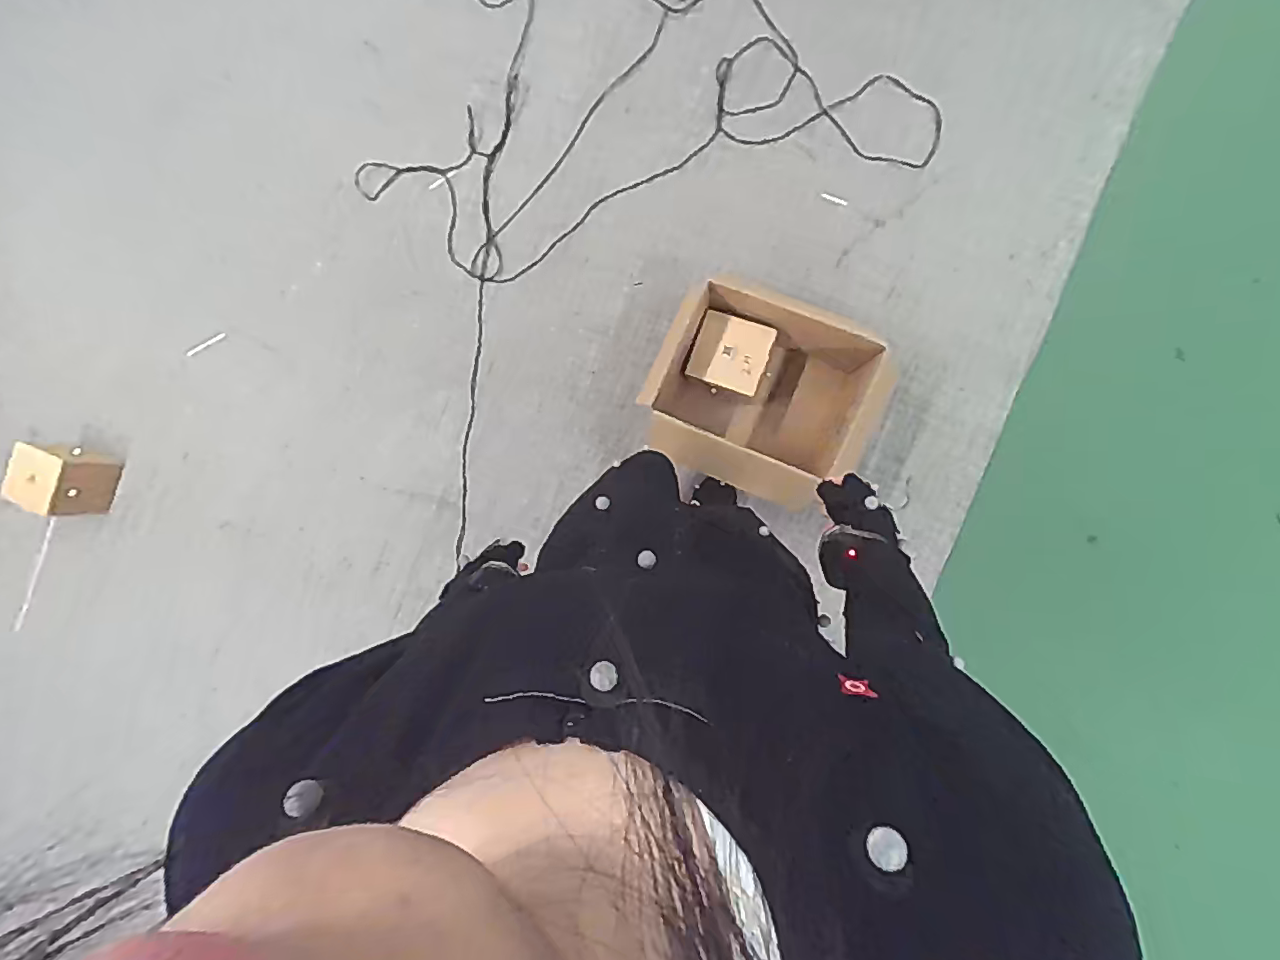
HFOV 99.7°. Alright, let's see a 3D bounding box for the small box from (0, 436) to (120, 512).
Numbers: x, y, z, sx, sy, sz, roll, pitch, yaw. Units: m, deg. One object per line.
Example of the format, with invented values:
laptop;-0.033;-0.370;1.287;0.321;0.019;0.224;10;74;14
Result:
small box;-1.718;-0.020;1.612;0.168;0.176;0.179;21;95;5
